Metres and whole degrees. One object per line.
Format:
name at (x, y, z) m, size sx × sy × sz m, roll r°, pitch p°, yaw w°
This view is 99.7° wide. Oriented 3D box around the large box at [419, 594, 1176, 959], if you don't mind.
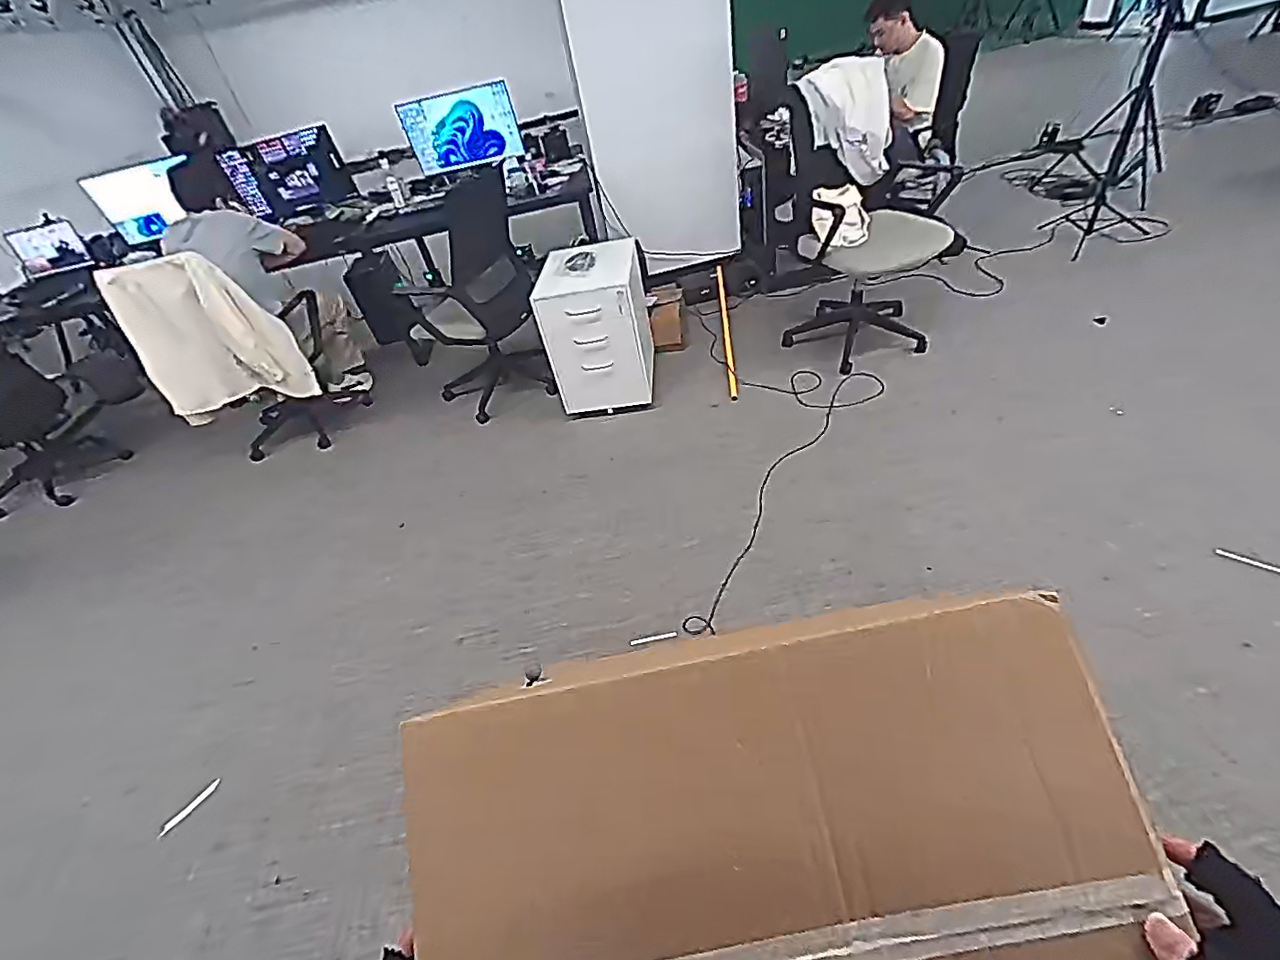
large box at (0.093, 0.298, 0.444) m, size 0.408 × 0.320 × 0.320 m, roll -13°, pitch 75°, yaw 3°
